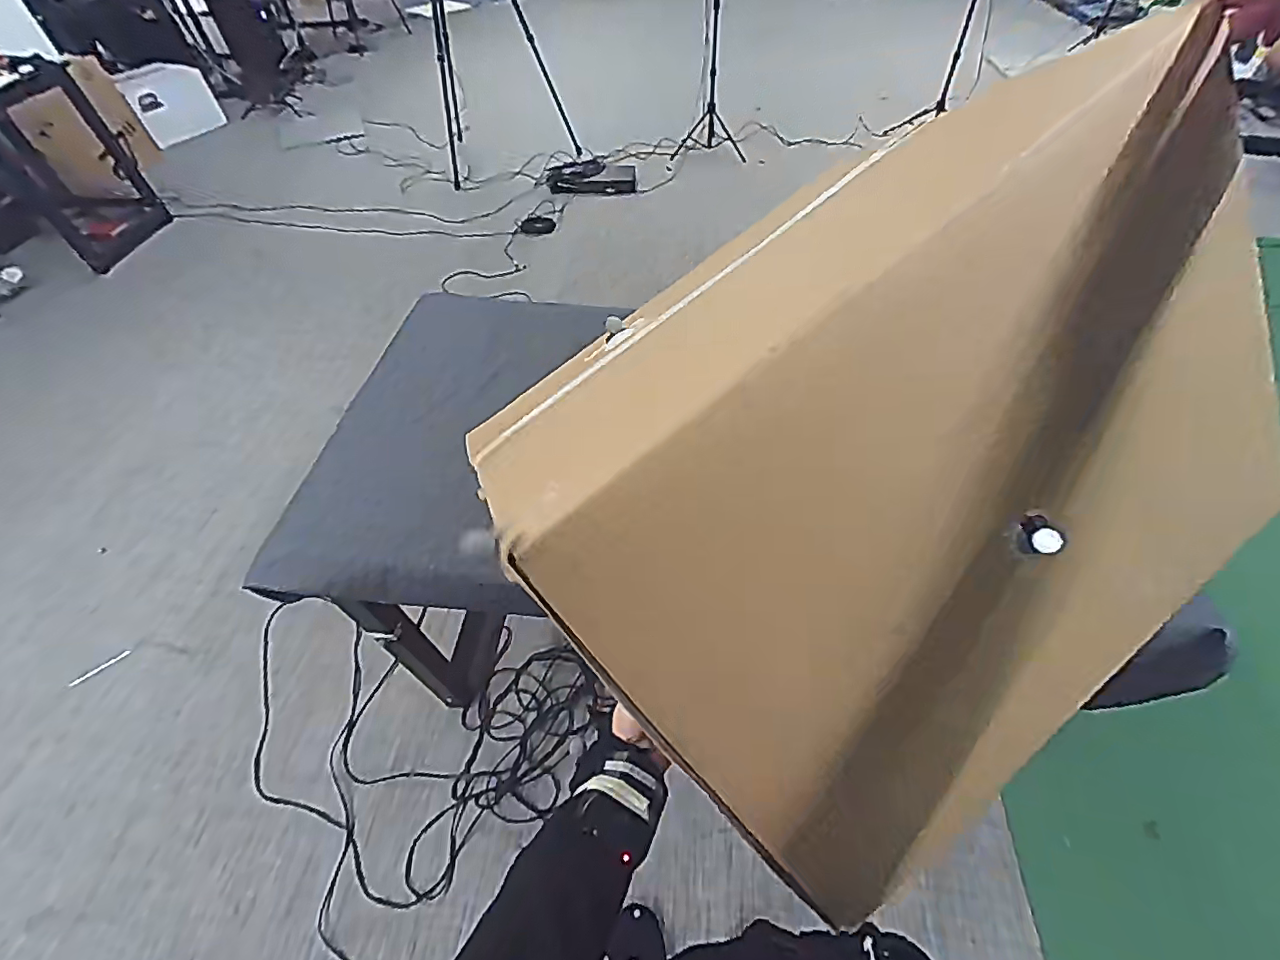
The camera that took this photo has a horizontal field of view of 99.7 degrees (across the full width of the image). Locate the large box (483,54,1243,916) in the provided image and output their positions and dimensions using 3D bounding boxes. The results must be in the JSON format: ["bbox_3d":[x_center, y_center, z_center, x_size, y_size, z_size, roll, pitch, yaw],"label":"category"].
[{"bbox_3d":[0.148,-0.004,0.425,0.408,0.320,0.320,-40,22,-9],"label":"large box"}]
